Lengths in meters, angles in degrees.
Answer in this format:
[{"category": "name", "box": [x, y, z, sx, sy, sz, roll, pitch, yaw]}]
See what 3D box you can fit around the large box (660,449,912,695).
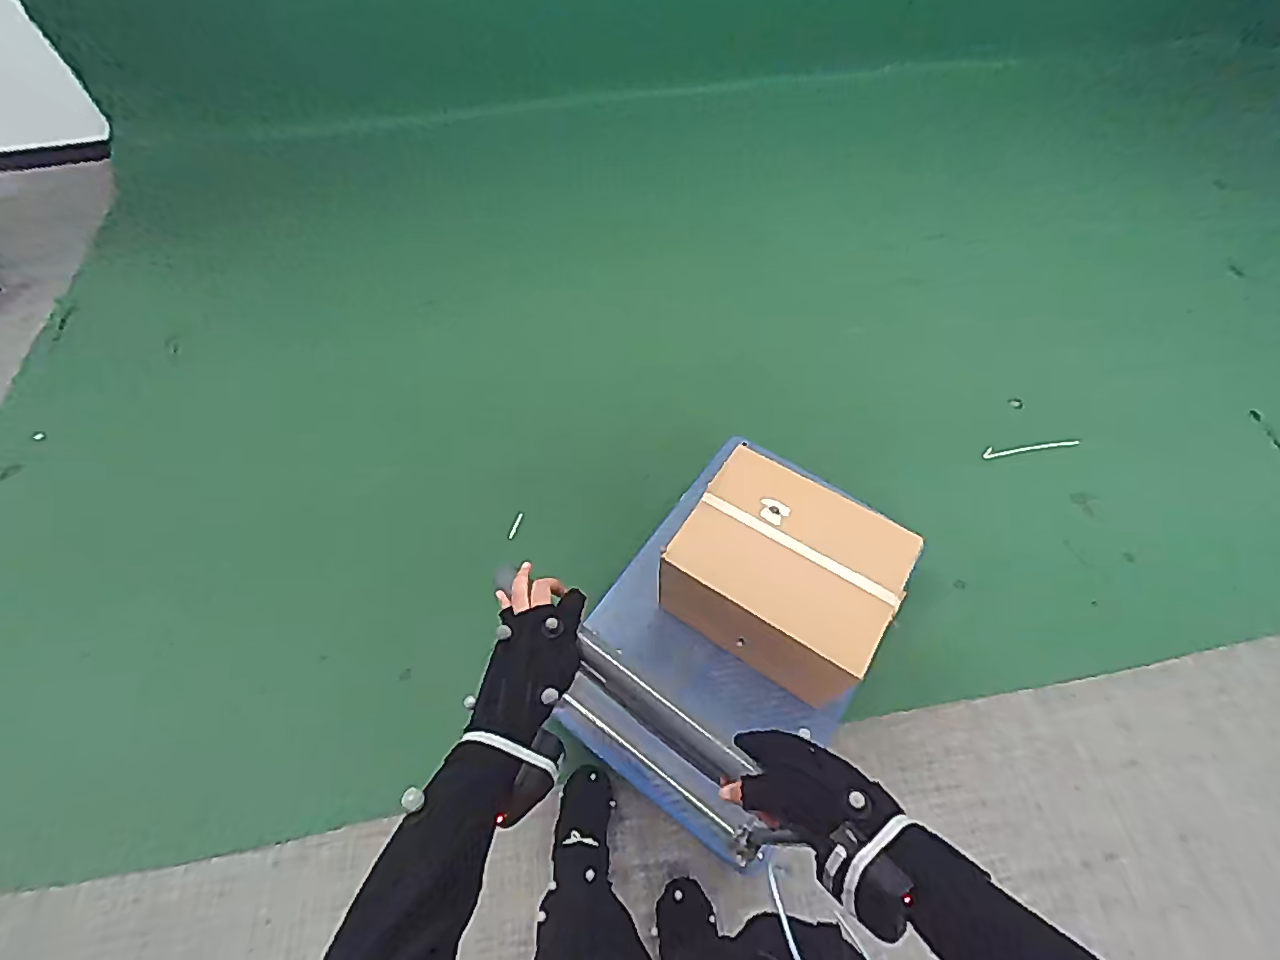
[{"category": "large box", "box": [0.291, 0.204, 1.173, 0.408, 0.320, 0.320, 28, 63, 18]}]
